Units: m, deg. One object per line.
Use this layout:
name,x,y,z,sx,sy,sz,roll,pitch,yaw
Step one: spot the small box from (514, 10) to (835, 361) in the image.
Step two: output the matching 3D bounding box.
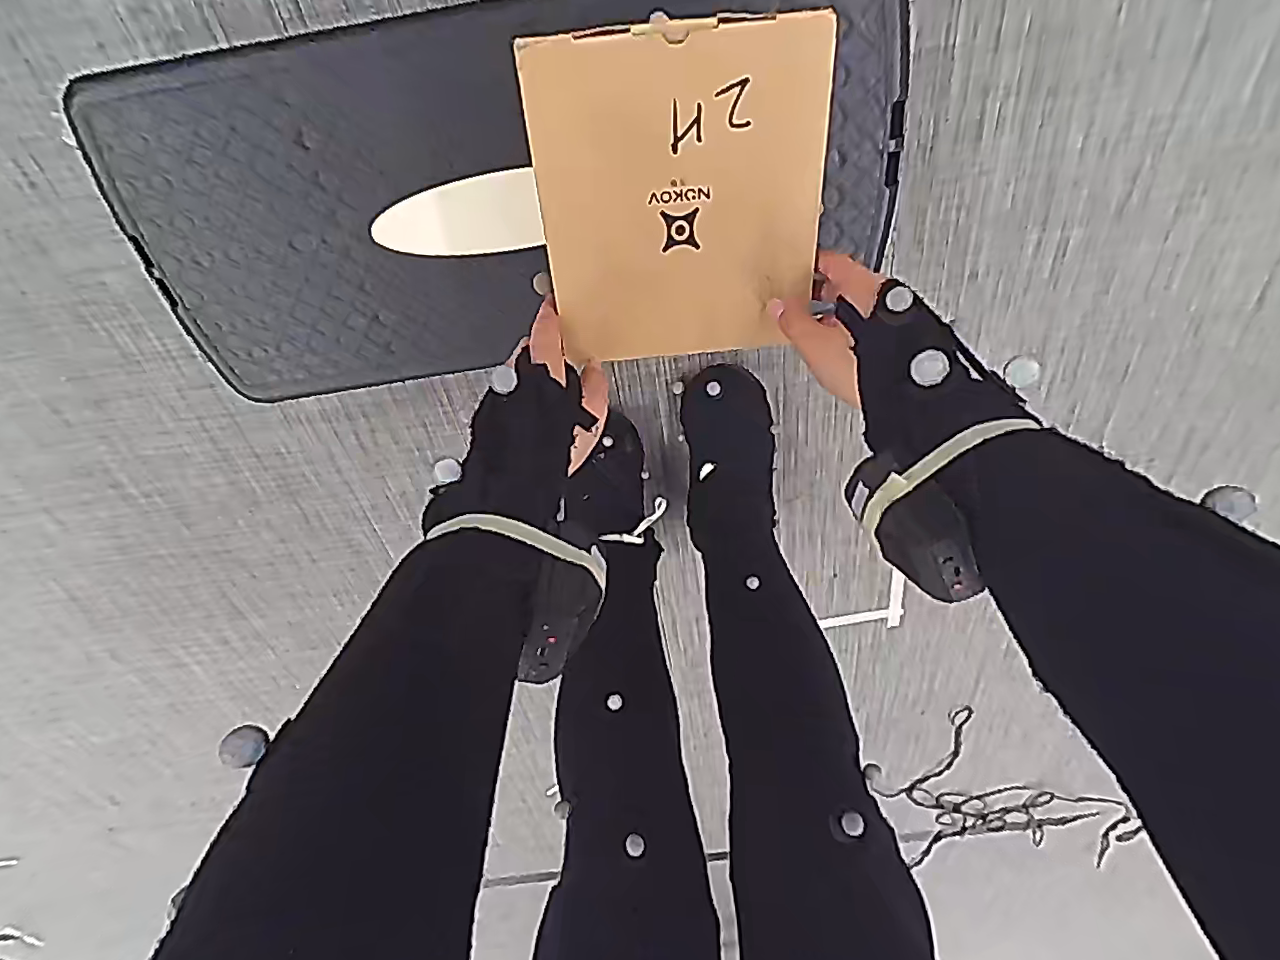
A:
small box,0.019,-0.203,0.383,0.168,0.176,0.179,-5,124,0
